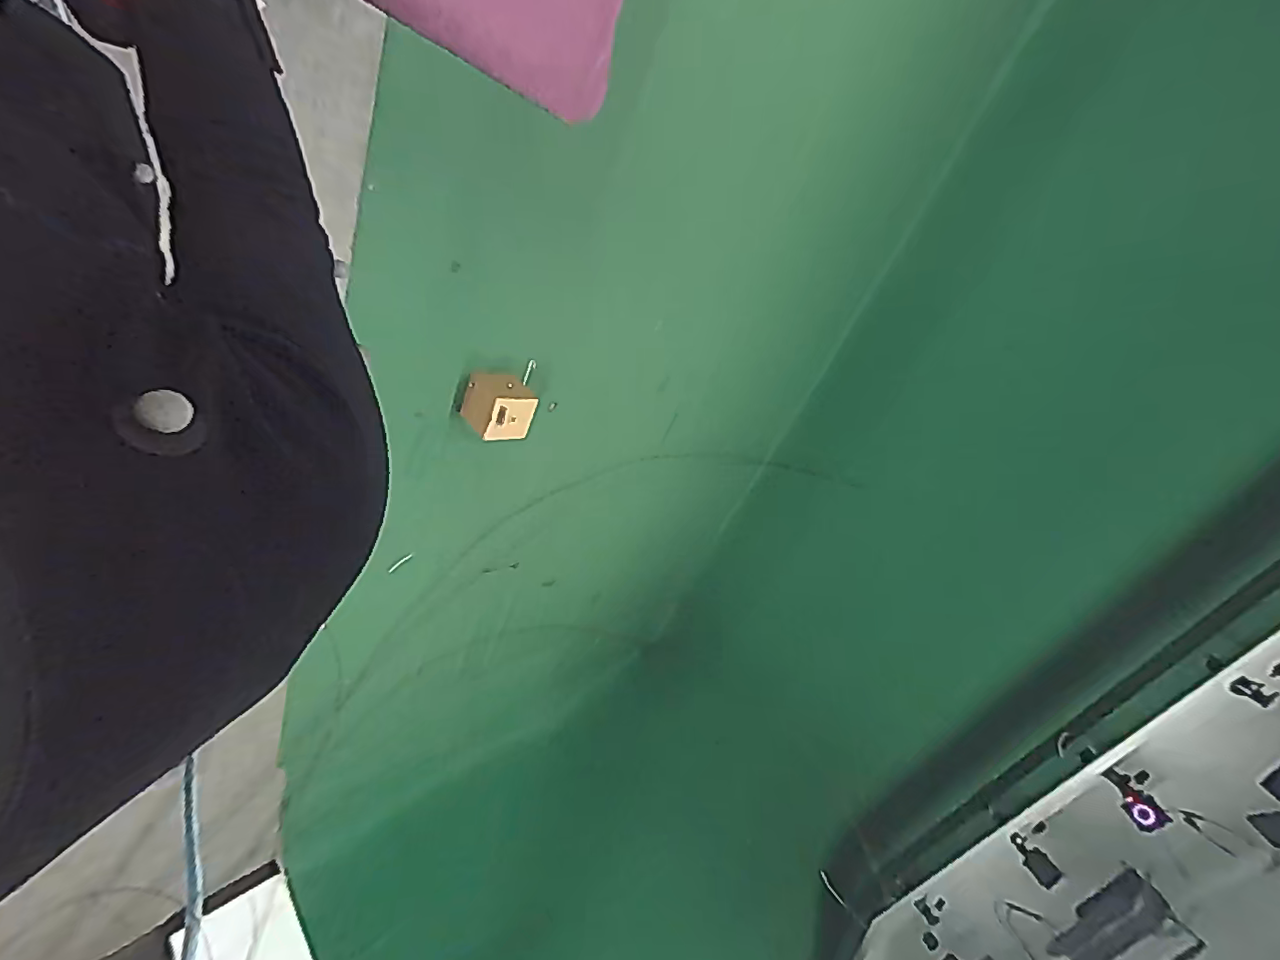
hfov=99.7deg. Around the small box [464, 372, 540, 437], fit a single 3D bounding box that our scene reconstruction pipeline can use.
[{"bbox_3d":[-0.484,-0.263,1.878,0.179,0.176,0.168,-9,134,-49],"label":"small box"}]
